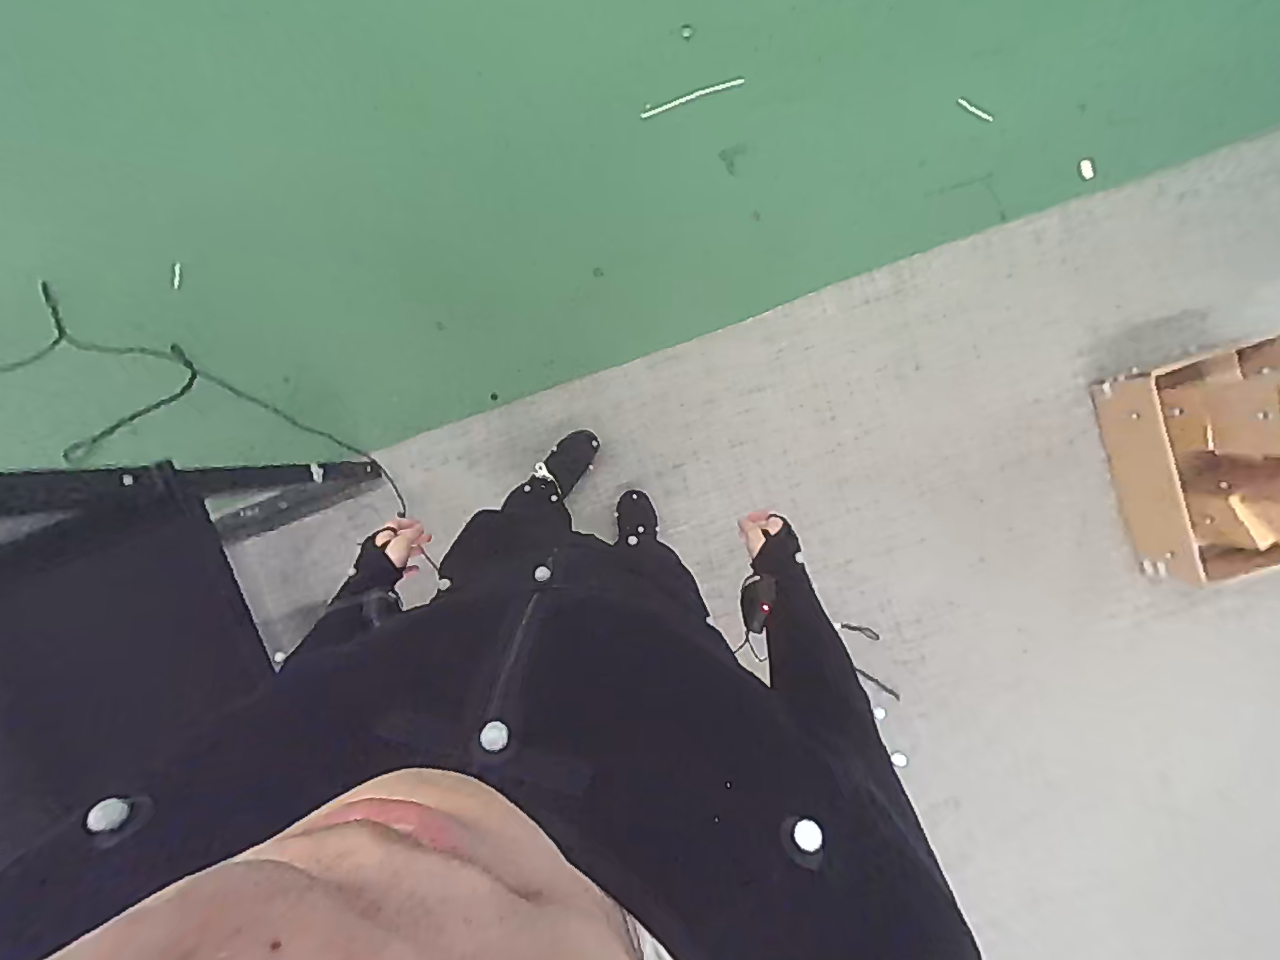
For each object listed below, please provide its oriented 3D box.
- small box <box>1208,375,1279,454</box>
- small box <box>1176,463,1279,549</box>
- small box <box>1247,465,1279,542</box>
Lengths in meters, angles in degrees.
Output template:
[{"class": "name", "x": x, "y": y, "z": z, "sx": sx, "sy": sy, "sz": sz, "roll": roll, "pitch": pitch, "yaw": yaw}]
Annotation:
[{"class": "small box", "x": 1.554, "y": -0.162, "z": 1.319, "sx": 0.168, "sy": 0.176, "sz": 0.179, "roll": -14, "pitch": 94, "yaw": 0}, {"class": "small box", "x": 1.655, "y": 0.068, "z": 1.495, "sx": 0.179, "sy": 0.176, "sz": 0.168, "roll": -35, "pitch": 92, "yaw": 2}, {"class": "small box", "x": 1.680, "y": 0.059, "z": 1.331, "sx": 0.179, "sy": 0.176, "sz": 0.168, "roll": -45, "pitch": 92, "yaw": 2}]
